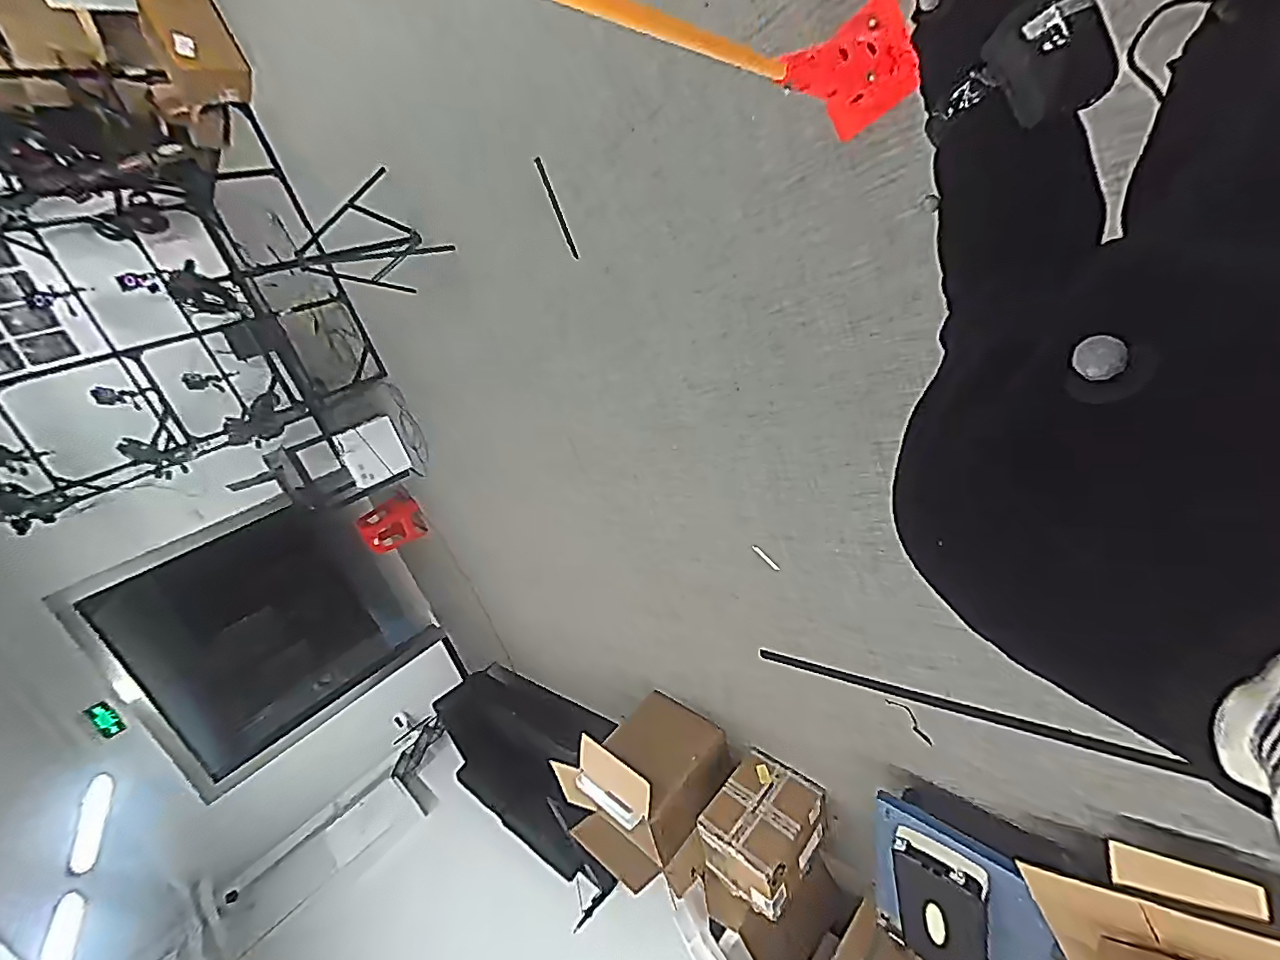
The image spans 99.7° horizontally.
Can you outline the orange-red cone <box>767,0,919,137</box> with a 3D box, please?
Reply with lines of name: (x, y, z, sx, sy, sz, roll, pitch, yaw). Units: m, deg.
orange-red cone: (0.361, -0.803, 1.061, 0.199, 0.360, 0.198, -14, 106, 54)
